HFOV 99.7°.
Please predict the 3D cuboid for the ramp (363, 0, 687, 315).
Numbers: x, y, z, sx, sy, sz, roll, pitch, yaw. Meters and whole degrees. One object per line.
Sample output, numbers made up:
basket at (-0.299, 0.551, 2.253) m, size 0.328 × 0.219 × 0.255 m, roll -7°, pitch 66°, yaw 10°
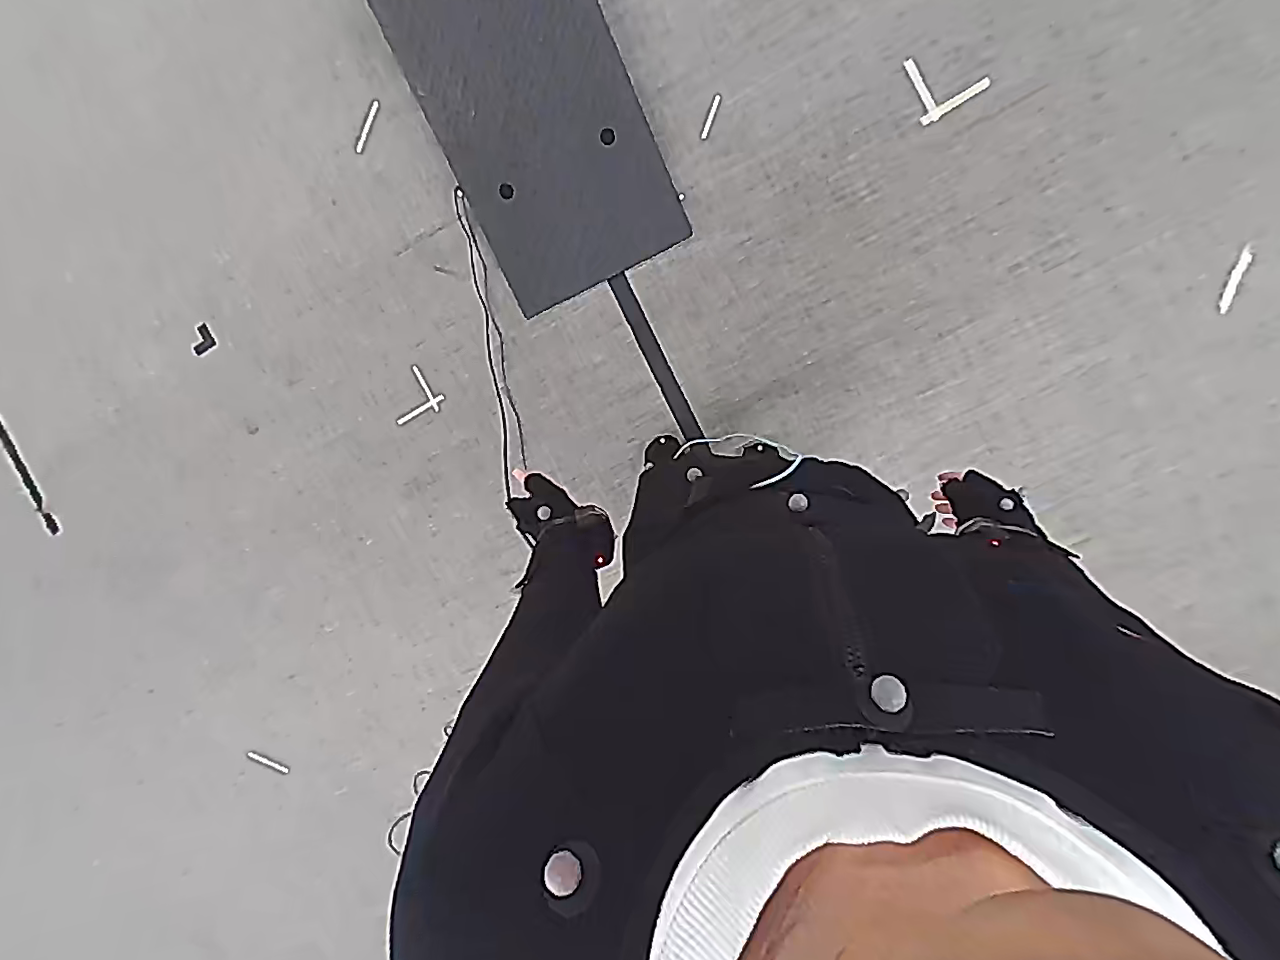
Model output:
ramp at (-0.301, -0.970, 1.300) m, size 0.509 × 0.206 × 0.991 m, roll -26°, pitch 94°, yaw 6°
